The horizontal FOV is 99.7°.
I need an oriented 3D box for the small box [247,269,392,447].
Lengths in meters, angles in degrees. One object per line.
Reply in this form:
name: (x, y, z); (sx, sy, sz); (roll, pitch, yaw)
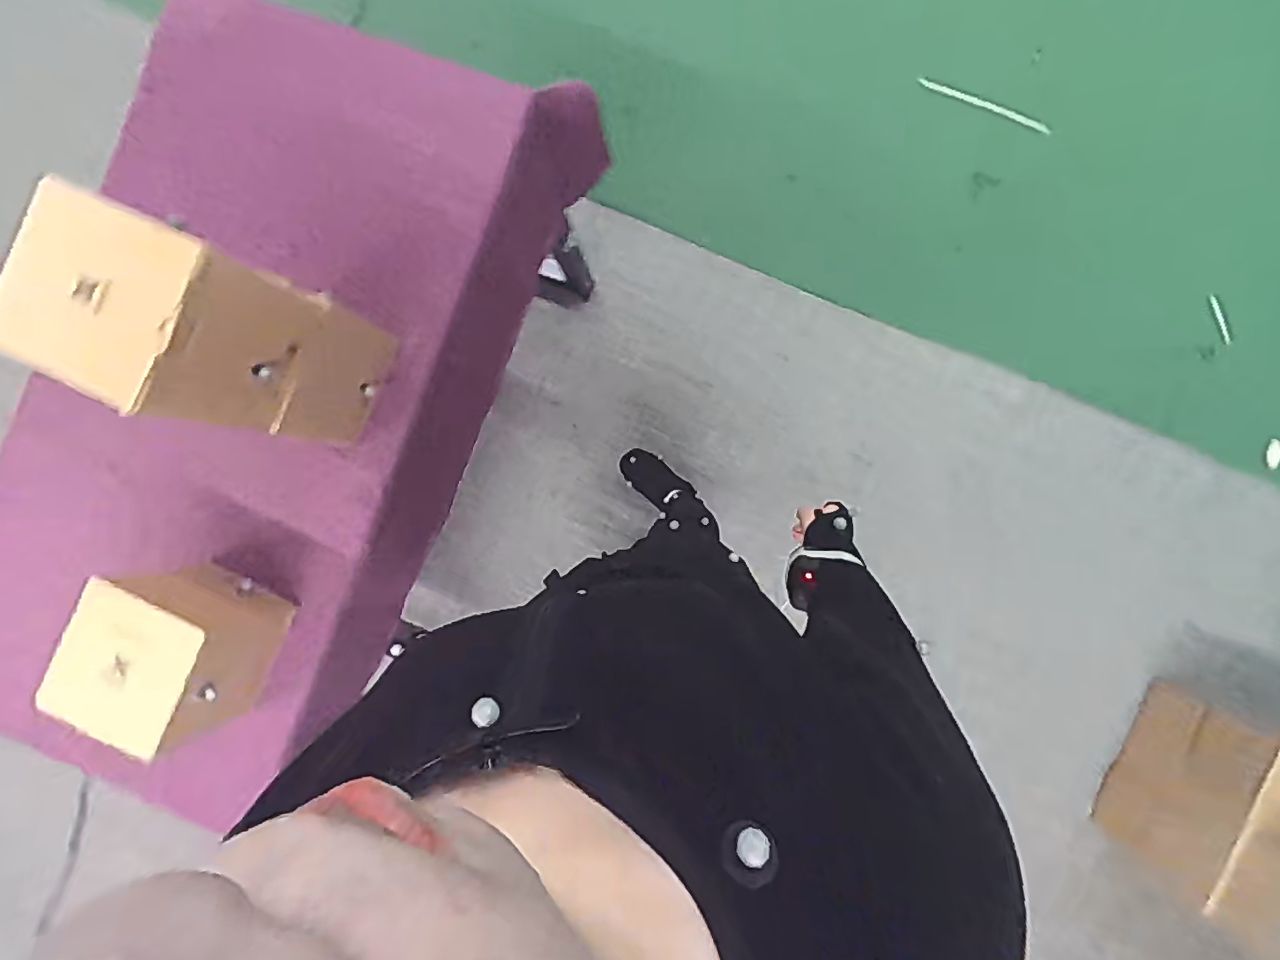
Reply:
small box: (-0.472, -0.158, 0.735); (0.168, 0.176, 0.179); (23, 90, 4)

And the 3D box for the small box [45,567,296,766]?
small box: (-0.617, 0.237, 0.736); (0.168, 0.176, 0.179); (24, 90, 3)

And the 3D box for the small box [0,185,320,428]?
small box: (-0.493, -0.164, 0.573); (0.179, 0.176, 0.168); (23, 91, 3)
